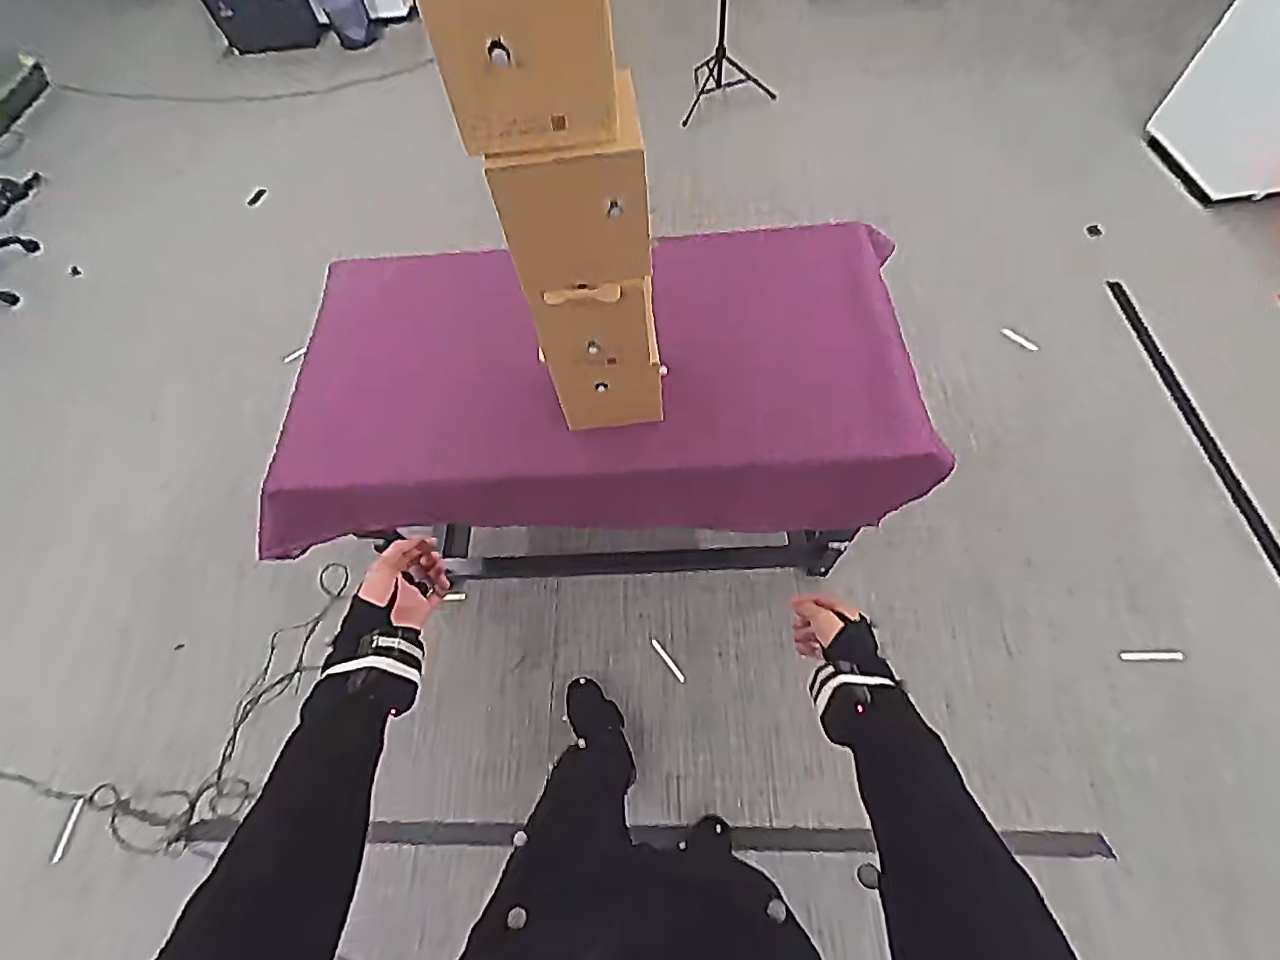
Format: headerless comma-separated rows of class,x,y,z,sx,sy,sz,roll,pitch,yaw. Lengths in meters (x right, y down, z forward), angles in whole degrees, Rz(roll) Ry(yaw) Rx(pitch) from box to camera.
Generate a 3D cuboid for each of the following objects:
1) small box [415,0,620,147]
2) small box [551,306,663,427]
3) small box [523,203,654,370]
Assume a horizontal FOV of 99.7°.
small box,-0.113,-0.463,0.545,0.168,0.176,0.179,-7,60,0
small box,-0.054,-0.208,0.963,0.179,0.176,0.168,-6,62,1
small box,-0.067,-0.288,0.821,0.168,0.176,0.179,-1,62,5
